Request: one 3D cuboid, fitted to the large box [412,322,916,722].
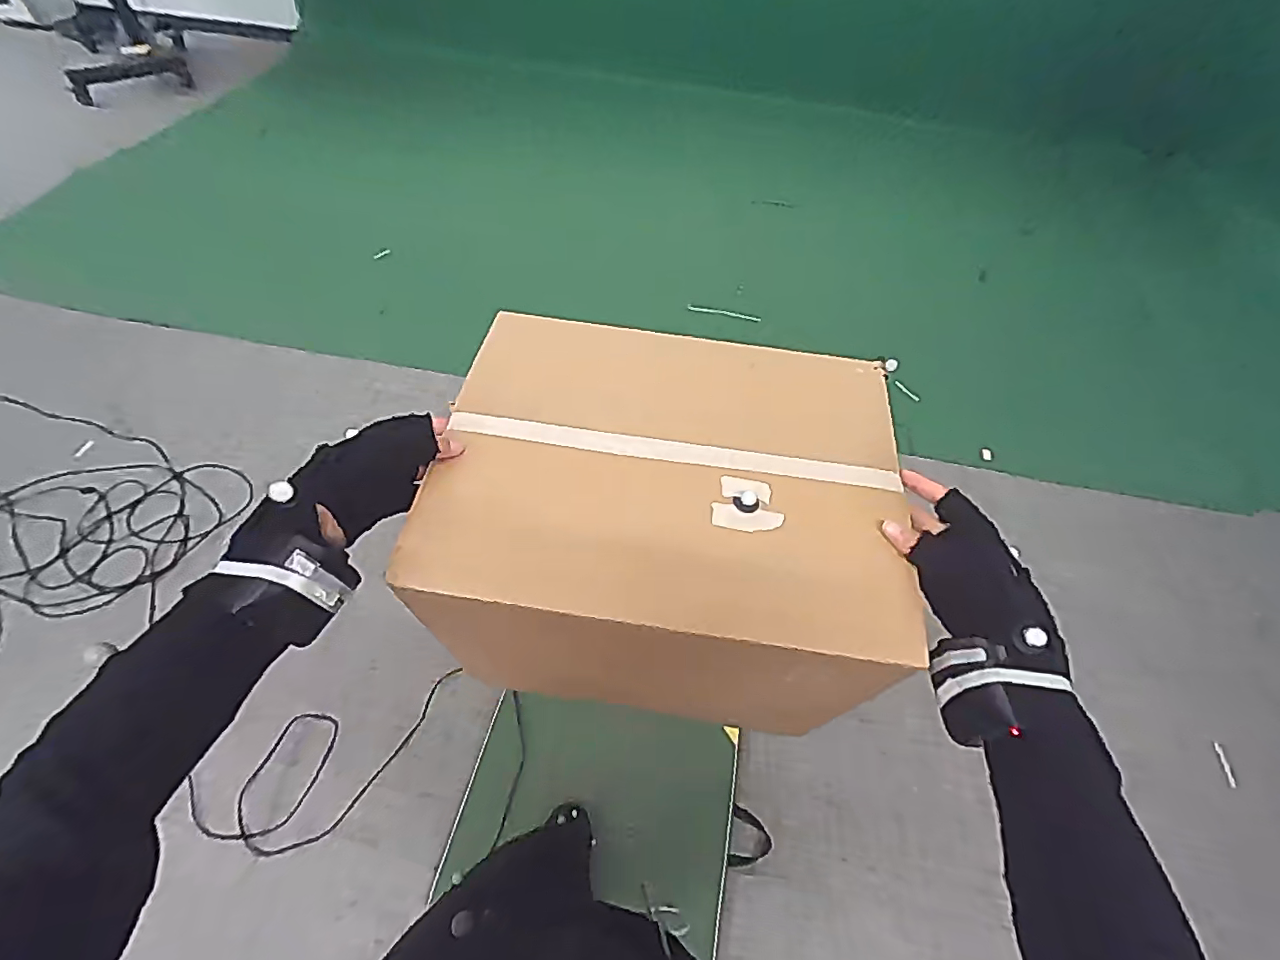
[{"bbox_3d":[0.024,0.061,0.620,0.408,0.320,0.320,9,57,1],"label":"large box"}]
